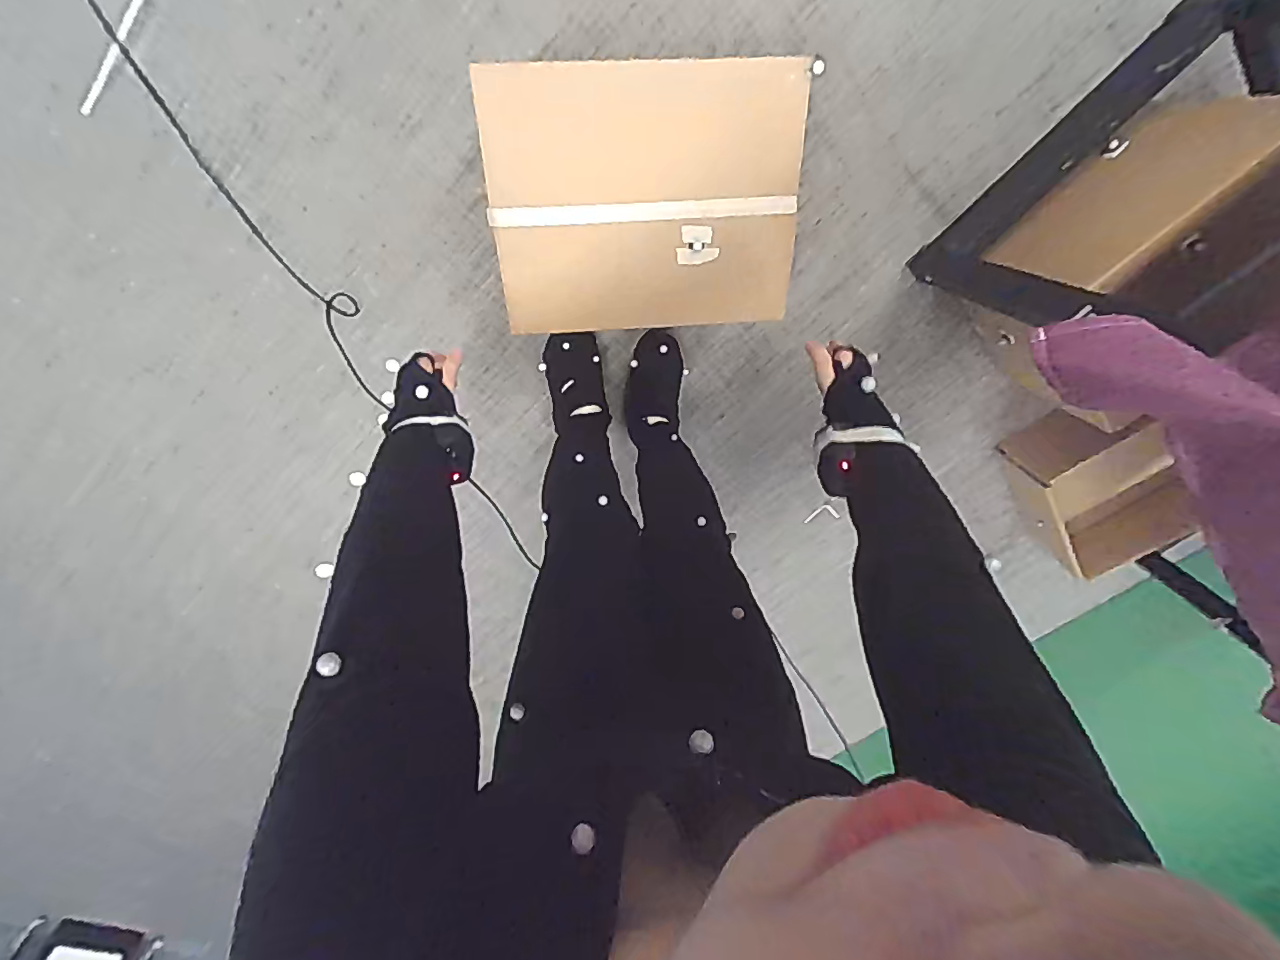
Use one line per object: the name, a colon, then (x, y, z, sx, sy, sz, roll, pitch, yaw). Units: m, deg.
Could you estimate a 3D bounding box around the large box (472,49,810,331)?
large box: (-0.006, -0.437, 0.828, 0.408, 0.320, 0.320, -5, 123, -4)
